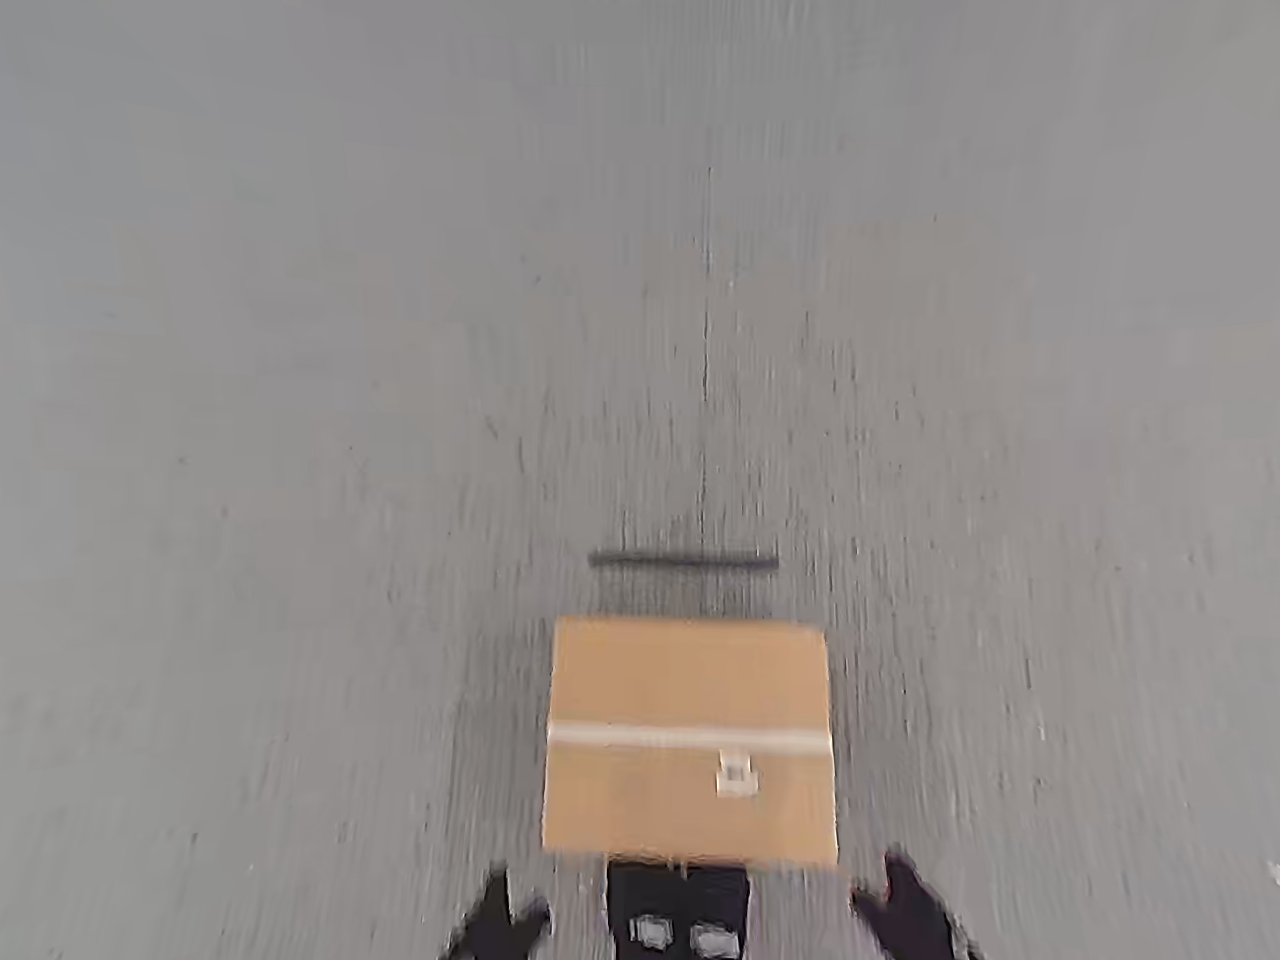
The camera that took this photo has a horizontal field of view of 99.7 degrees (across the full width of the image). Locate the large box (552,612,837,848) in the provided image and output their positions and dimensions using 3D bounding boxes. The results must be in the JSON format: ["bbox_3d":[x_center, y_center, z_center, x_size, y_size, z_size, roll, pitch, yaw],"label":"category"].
[{"bbox_3d":[0.078,0.390,0.927,0.408,0.320,0.320,1,78,2],"label":"large box"}]
